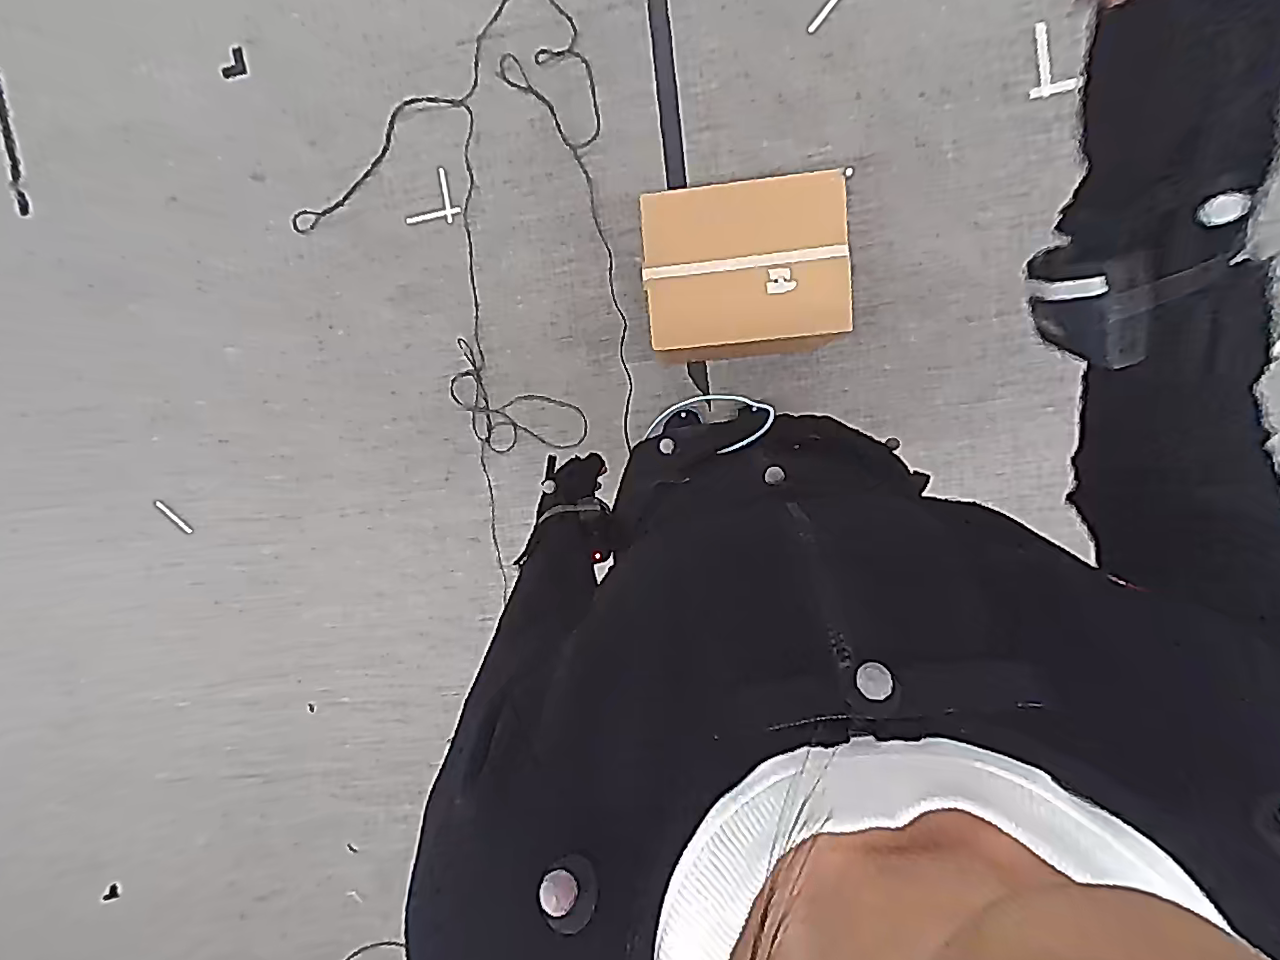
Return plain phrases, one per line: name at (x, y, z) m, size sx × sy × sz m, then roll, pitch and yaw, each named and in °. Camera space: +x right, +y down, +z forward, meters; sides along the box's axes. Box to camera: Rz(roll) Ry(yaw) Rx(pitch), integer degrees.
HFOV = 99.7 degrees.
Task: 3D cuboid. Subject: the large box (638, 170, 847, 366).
large box at (0.217, -0.454, 1.240) m, size 0.408 × 0.320 × 0.320 m, roll -5°, pitch 96°, yaw 5°
